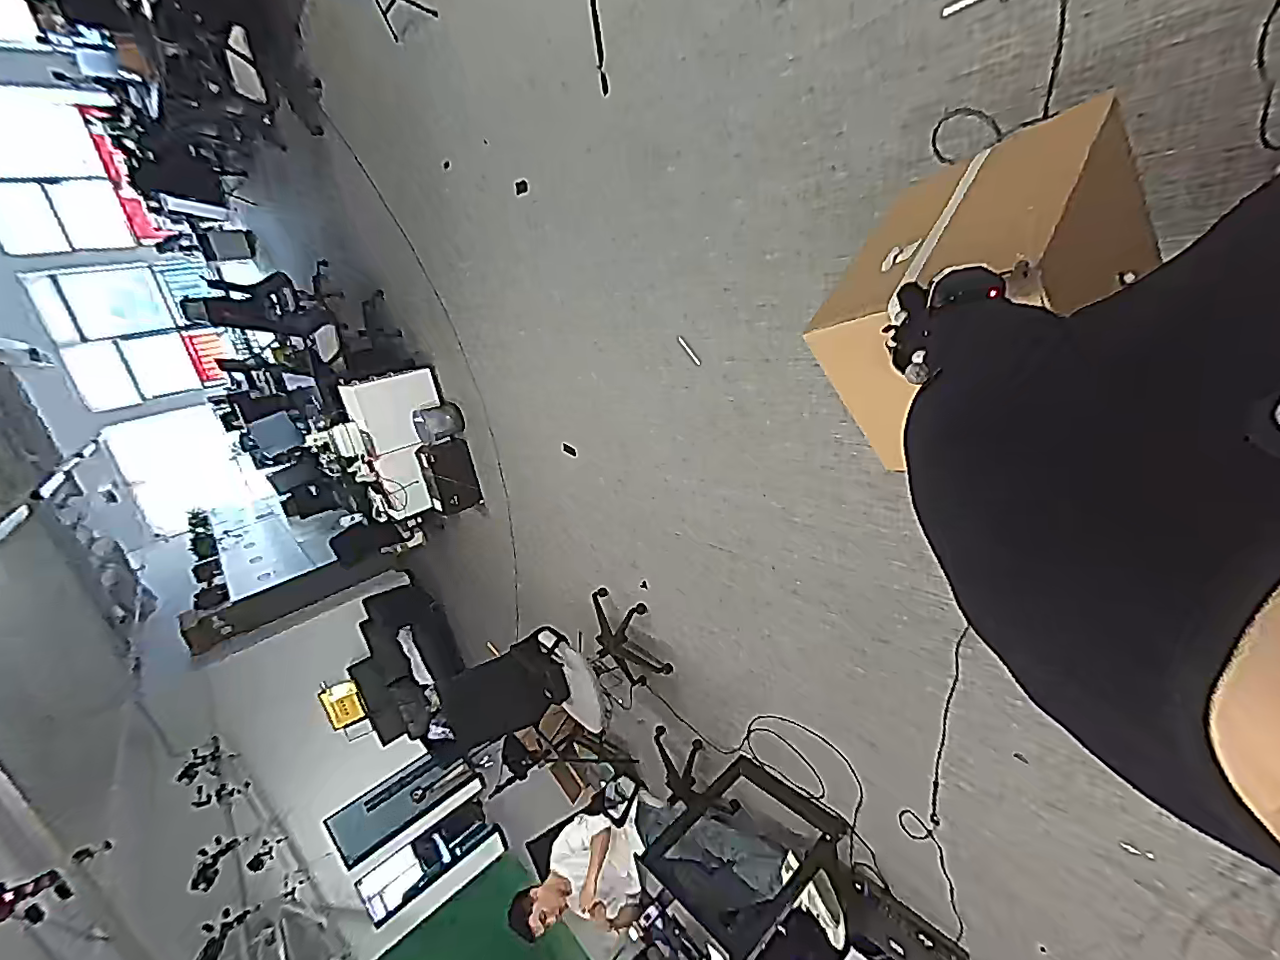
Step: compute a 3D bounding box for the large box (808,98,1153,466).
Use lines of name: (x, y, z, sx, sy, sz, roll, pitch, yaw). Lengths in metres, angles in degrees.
large box: (0.539, -0.273, 0.844, 0.320, 0.408, 0.320, 46, 156, -24)
